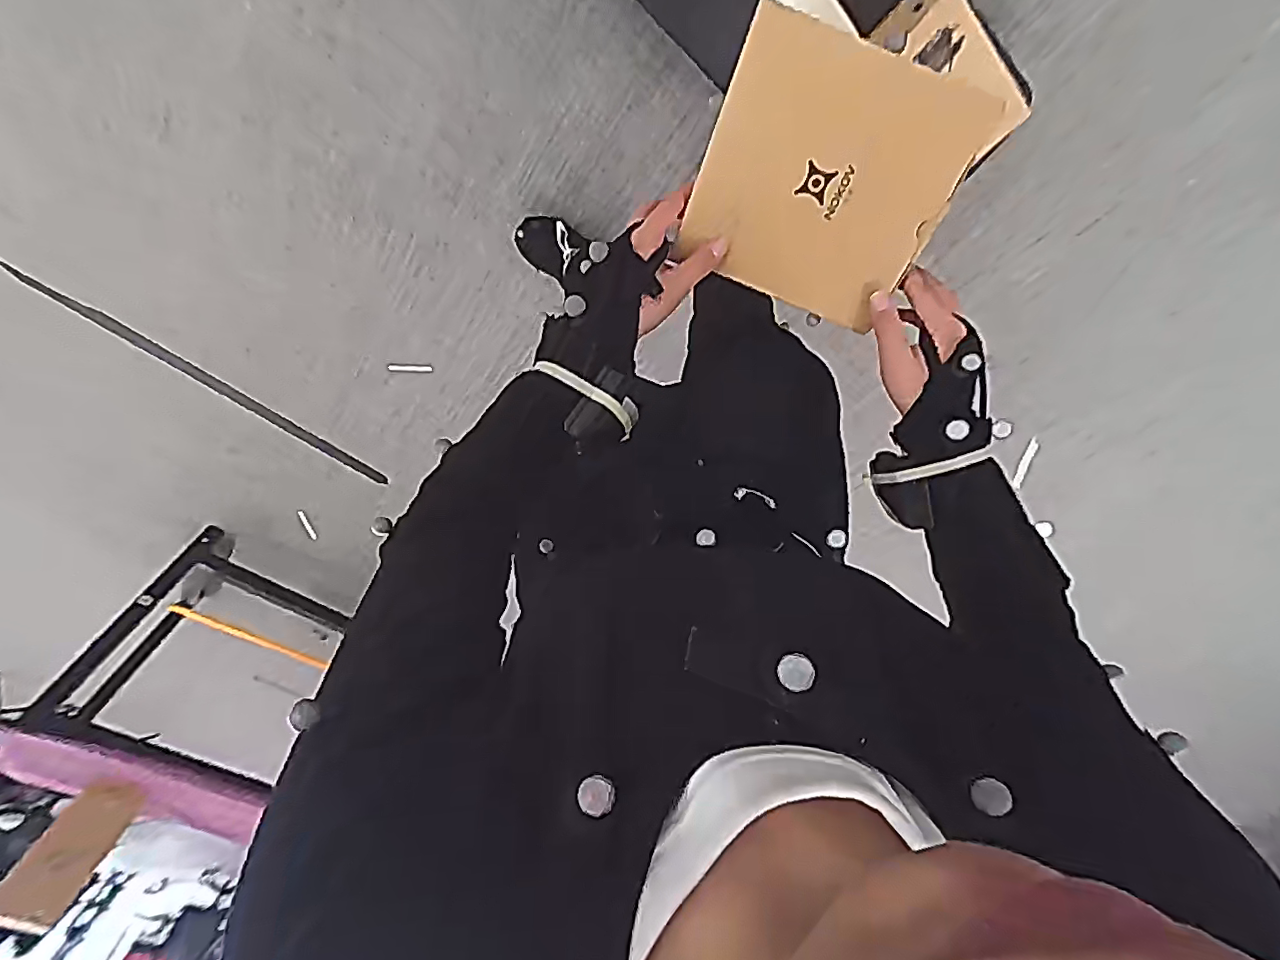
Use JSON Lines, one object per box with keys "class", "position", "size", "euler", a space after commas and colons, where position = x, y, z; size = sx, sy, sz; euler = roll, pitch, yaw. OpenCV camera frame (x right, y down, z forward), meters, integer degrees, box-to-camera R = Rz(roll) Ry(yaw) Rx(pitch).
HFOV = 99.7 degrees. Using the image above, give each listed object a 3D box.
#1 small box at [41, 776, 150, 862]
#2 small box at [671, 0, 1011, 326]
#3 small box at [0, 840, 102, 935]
{"class": "small box", "position": [-1.615, 1.011, 1.606], "size": [0.168, 0.176, 0.179], "euler": [37, 125, -22]}
{"class": "small box", "position": [0.142, -0.255, 0.448], "size": [0.179, 0.176, 0.168], "euler": [21, 123, -3]}
{"class": "small box", "position": [-1.636, 1.116, 1.481], "size": [0.168, 0.176, 0.179], "euler": [36, 126, -22]}
